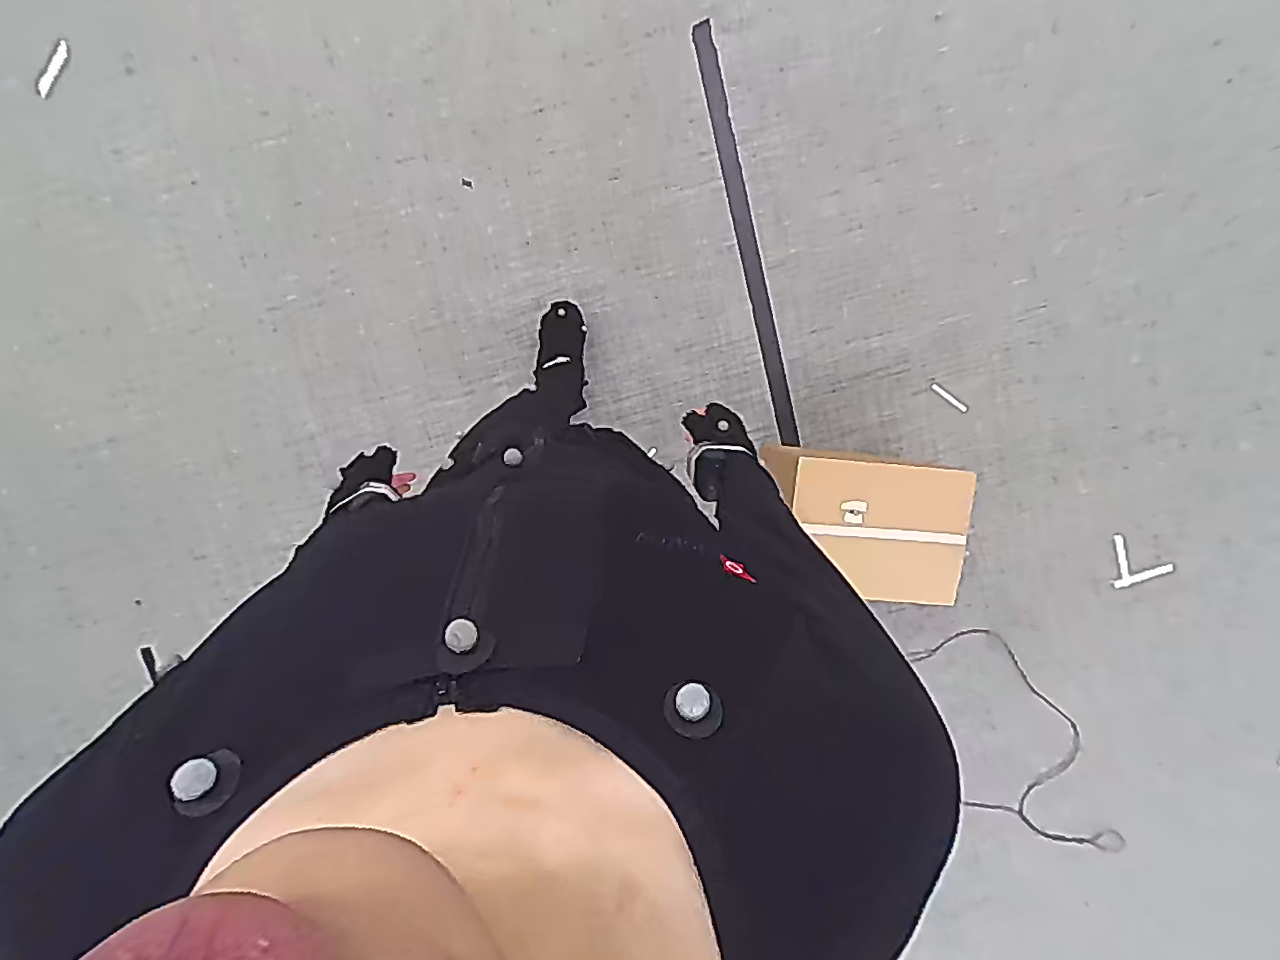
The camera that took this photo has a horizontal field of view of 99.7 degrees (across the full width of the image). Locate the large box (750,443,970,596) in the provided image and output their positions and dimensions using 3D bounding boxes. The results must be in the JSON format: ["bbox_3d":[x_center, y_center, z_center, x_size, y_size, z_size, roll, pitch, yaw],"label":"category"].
[{"bbox_3d":[0.522,0.082,1.358,0.408,0.320,0.320,4,98,-2],"label":"large box"}]
